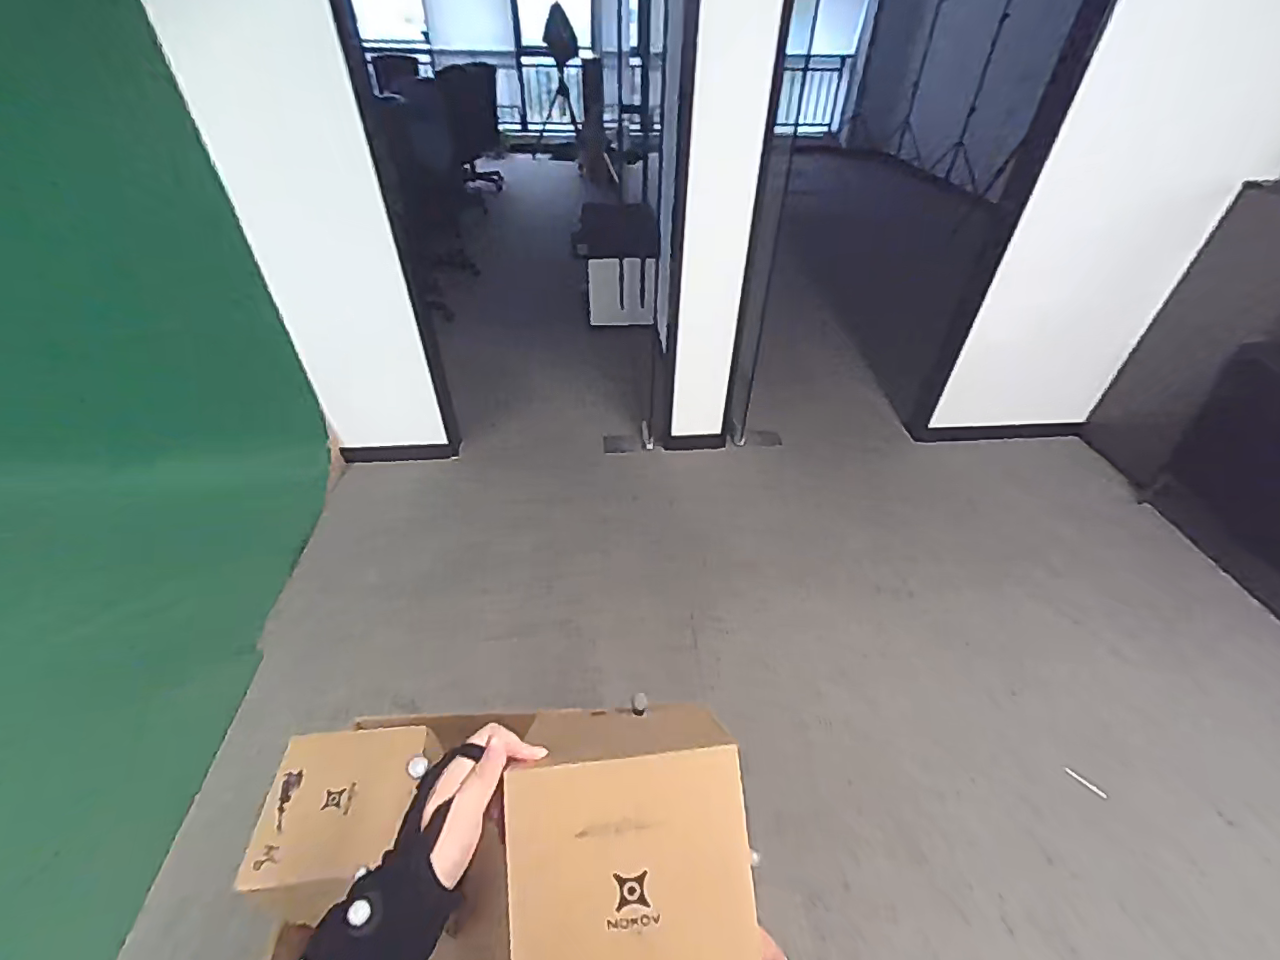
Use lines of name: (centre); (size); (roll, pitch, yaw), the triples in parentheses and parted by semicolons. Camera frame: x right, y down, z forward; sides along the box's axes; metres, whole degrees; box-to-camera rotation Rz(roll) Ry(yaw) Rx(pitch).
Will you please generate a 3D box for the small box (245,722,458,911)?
small box: (-0.347, 0.434, 0.699); (0.179, 0.176, 0.168); (-2, 41, -4)
